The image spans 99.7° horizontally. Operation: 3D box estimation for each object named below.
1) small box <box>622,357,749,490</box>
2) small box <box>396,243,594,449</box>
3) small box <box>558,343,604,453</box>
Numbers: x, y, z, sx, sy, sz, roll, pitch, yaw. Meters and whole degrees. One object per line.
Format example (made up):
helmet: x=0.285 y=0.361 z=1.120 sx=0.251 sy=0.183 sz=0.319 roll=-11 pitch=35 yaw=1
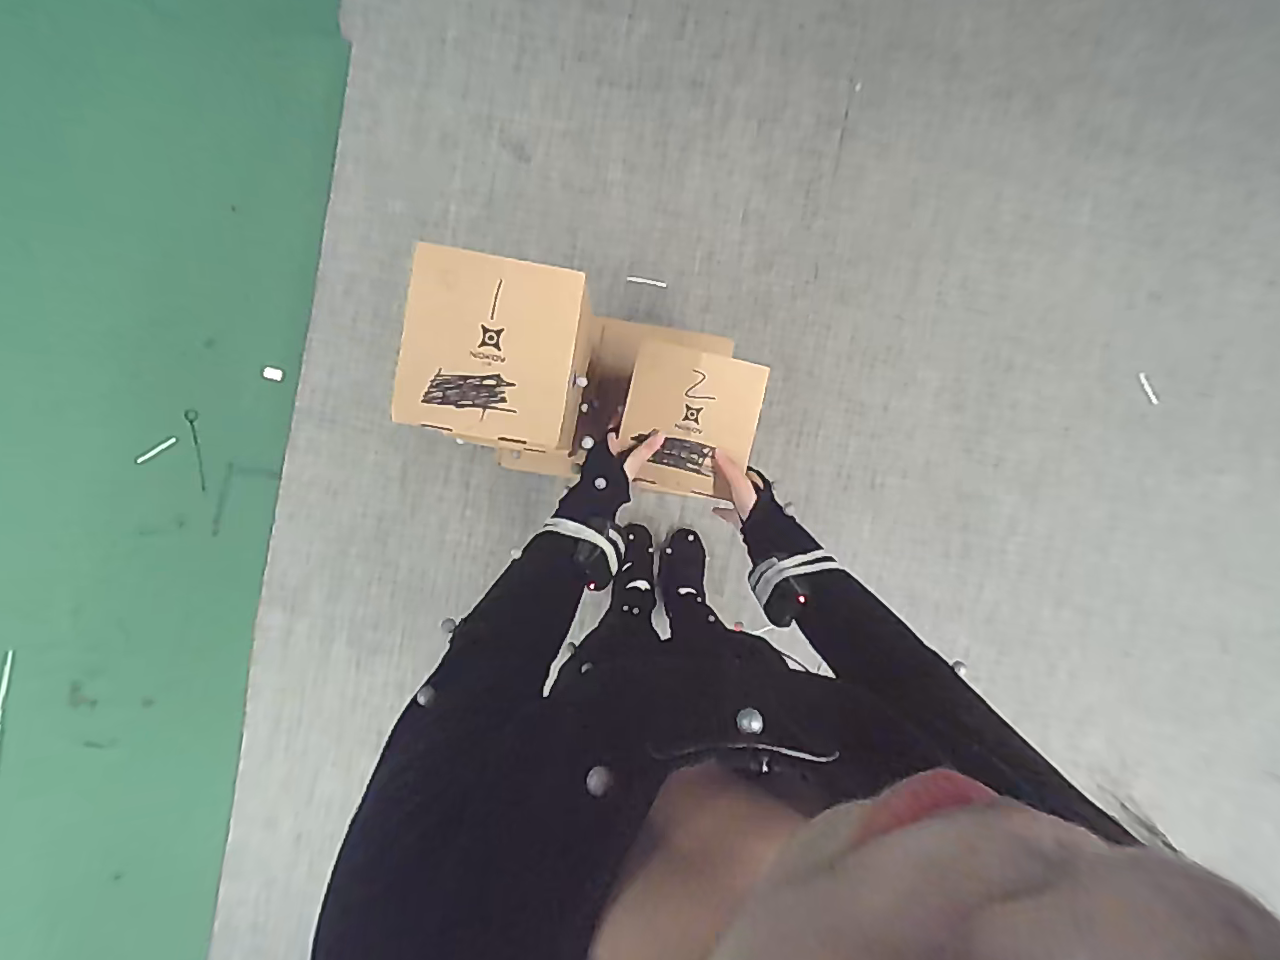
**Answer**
small box: x=0.071 y=-0.090 z=0.931 sx=0.168 sy=0.176 sz=0.179 roll=16 pitch=91 yaw=1
small box: x=-0.145 y=-0.131 z=0.602 sx=0.168 sy=0.176 sz=0.179 roll=9 pitch=91 yaw=-3
small box: x=-0.156 y=-0.146 z=0.930 sx=0.168 sy=0.176 sz=0.179 roll=11 pitch=91 yaw=-3
